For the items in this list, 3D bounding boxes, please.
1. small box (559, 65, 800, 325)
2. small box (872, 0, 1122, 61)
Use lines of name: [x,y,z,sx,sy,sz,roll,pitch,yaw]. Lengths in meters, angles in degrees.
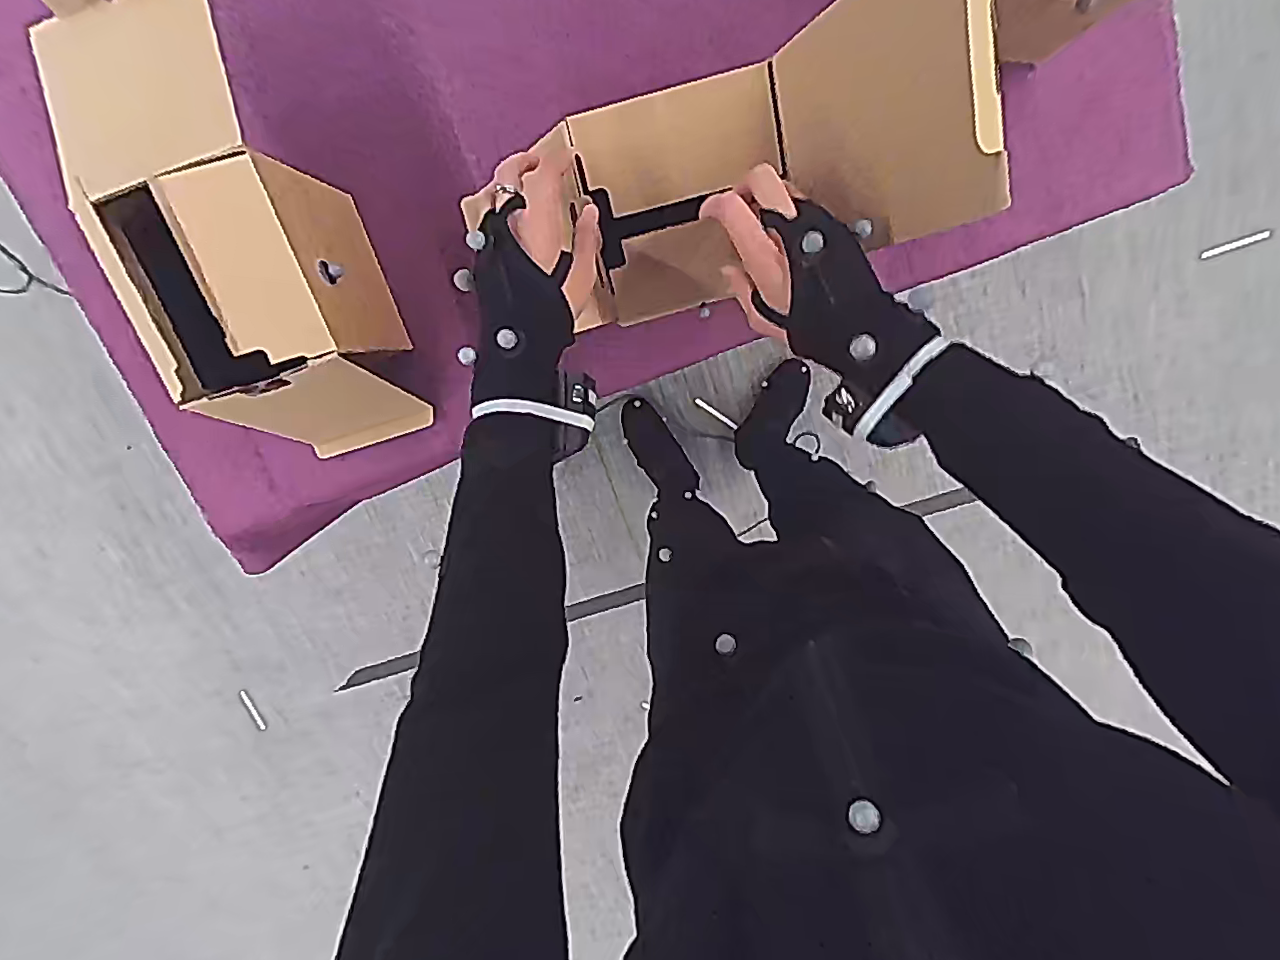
small box: [0.037,-0.252,0.527,0.179,0.176,0.168,-14,105,3]
small box: [0.329,-0.492,0.458,0.179,0.176,0.168,6,105,-1]
